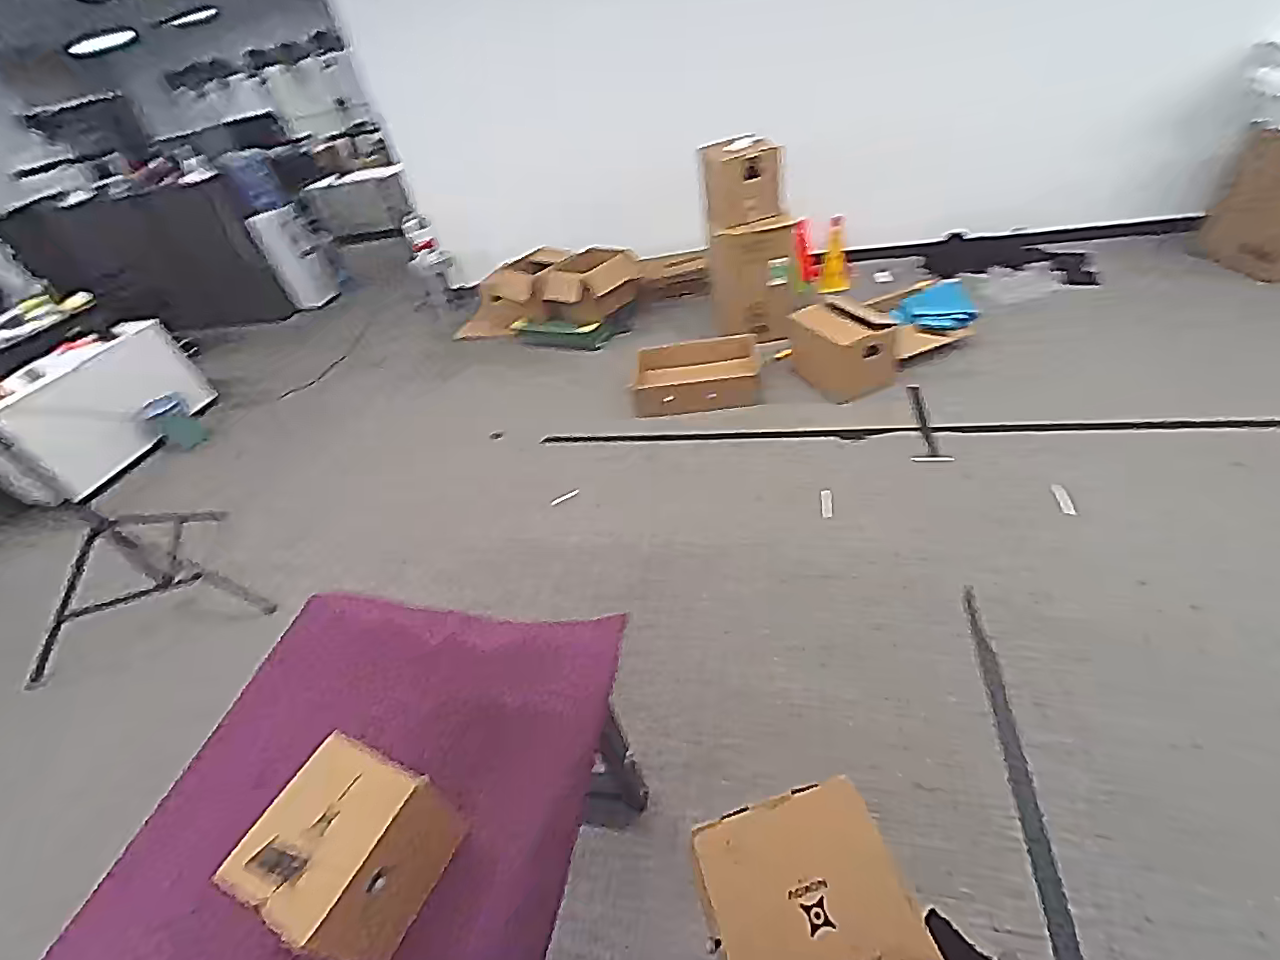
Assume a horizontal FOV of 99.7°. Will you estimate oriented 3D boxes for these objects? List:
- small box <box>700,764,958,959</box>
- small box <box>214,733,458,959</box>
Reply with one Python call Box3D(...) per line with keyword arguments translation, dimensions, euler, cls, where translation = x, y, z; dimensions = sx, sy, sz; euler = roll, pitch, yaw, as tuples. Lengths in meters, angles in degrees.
Box3D(translation=(0.158, 0.406, 0.508), dimensions=(0.168, 0.176, 0.179), euler=(-14, 46, -7), cls="small box")
Box3D(translation=(-0.365, 0.467, 0.684), dimensions=(0.168, 0.176, 0.179), euler=(10, 45, 26), cls="small box")
